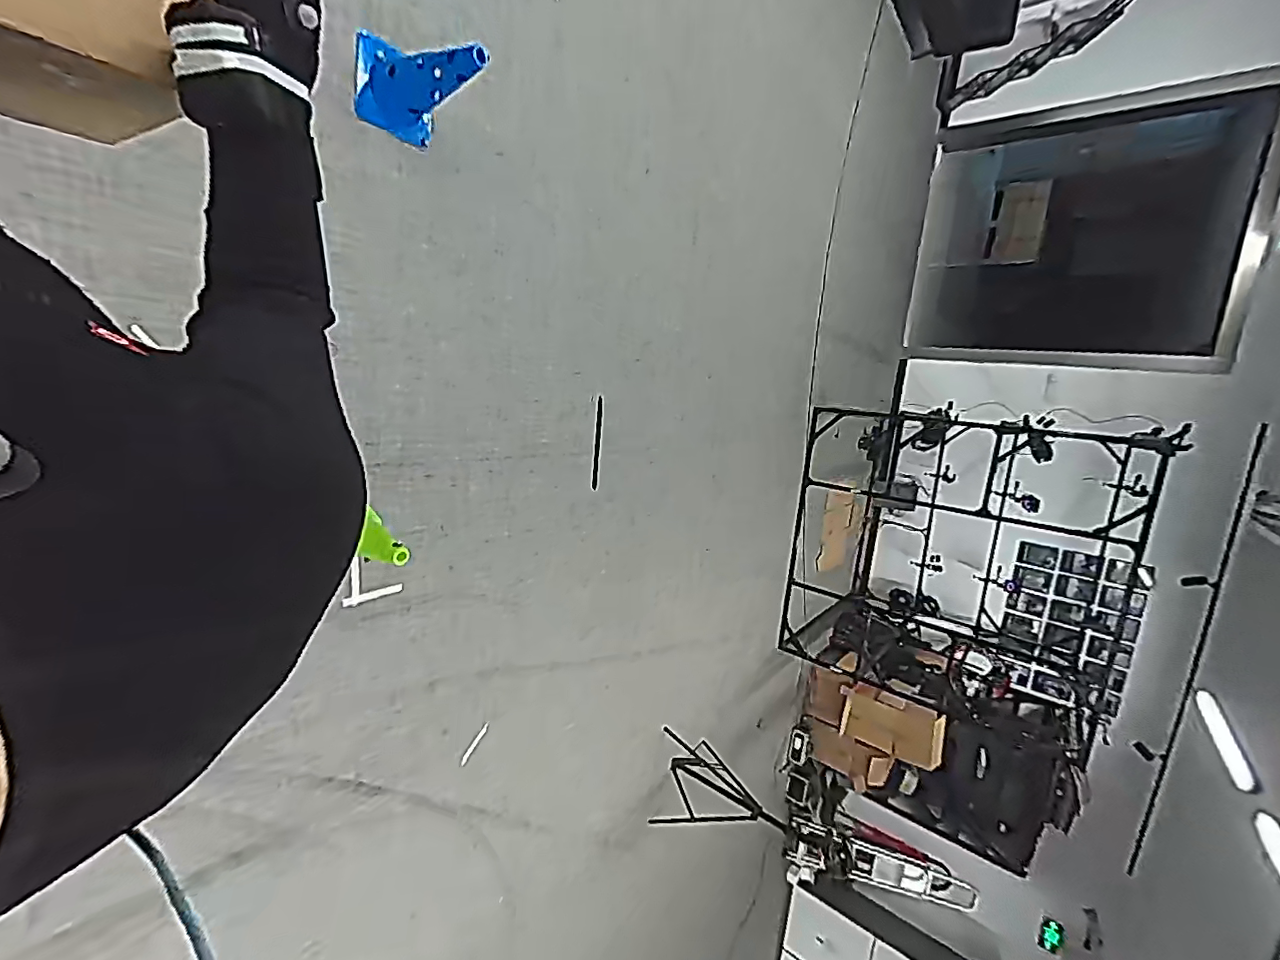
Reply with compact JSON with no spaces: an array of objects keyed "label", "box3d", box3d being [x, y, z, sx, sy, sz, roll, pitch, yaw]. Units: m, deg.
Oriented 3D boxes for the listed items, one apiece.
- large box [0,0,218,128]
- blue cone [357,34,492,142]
[{"label":"large box","box3d":[-0.524,-0.443,0.279,0.408,0.320,0.320,-11,114,-54]},{"label":"blue cone","box3d":[-0.499,-0.972,1.298,0.192,0.380,0.193,-2,103,-54]}]
